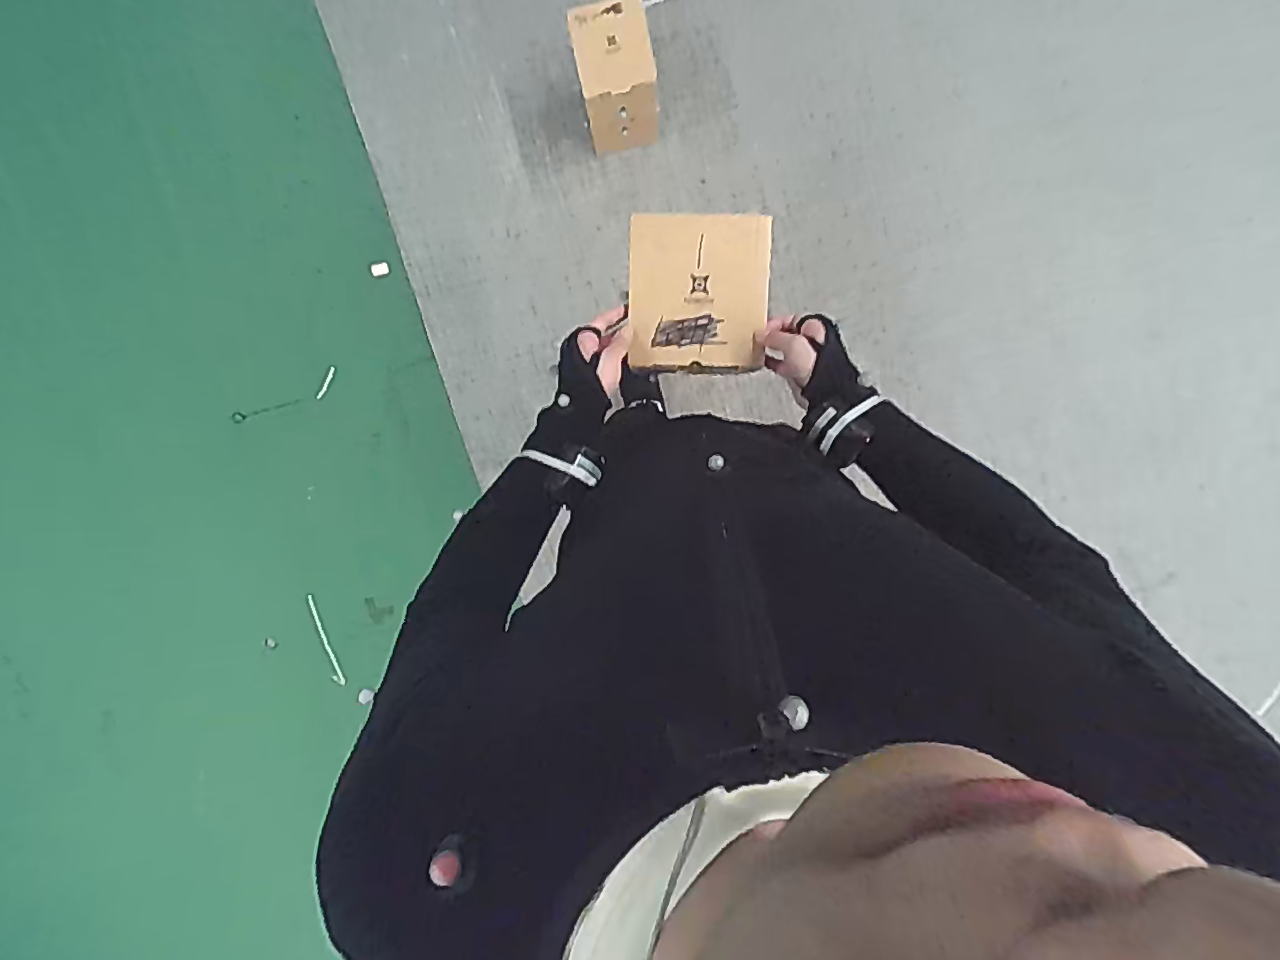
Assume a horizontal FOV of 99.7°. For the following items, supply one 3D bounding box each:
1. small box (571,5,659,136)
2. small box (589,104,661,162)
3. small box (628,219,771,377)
[{"bbox_3d":[-0.051,-0.924,1.243,0.168,0.176,0.179,-11,100,3],"label":"small box"},{"bbox_3d":[-0.044,-0.955,1.404,0.179,0.176,0.168,-11,99,3],"label":"small box"},{"bbox_3d":[0.073,-0.233,0.732,0.168,0.176,0.179,2,97,0],"label":"small box"}]
